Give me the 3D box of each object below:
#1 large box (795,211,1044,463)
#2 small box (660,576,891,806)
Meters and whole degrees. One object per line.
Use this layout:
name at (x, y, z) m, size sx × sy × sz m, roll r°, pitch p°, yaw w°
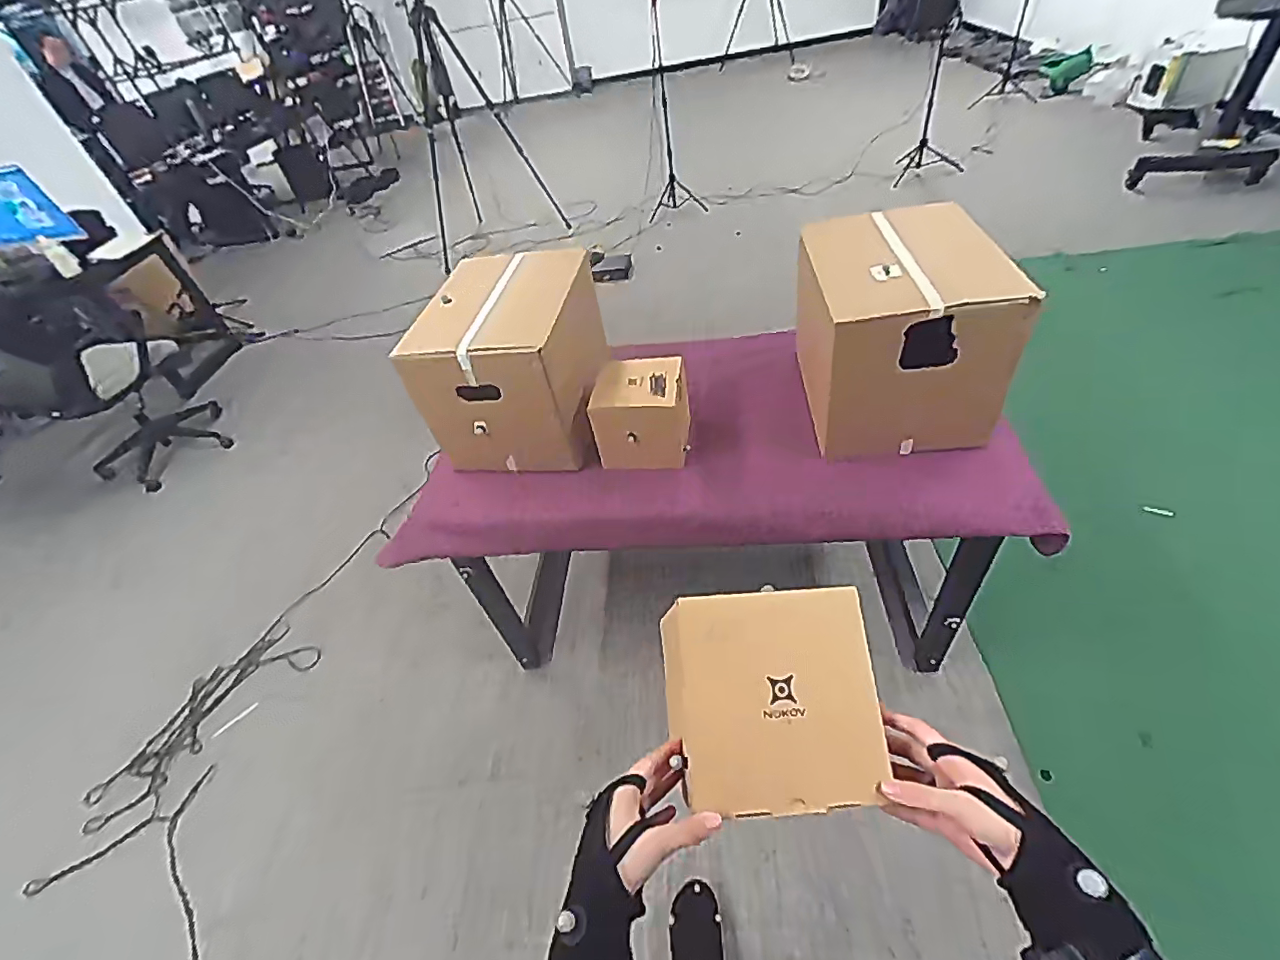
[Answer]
large box at (0.503, -0.290, 1.090) m, size 0.320 × 0.320 × 0.408 m, roll -6°, pitch 45°, yaw 10°
small box at (0.112, 0.198, 0.531) m, size 0.168 × 0.176 × 0.179 m, roll -3°, pitch 71°, yaw -4°
